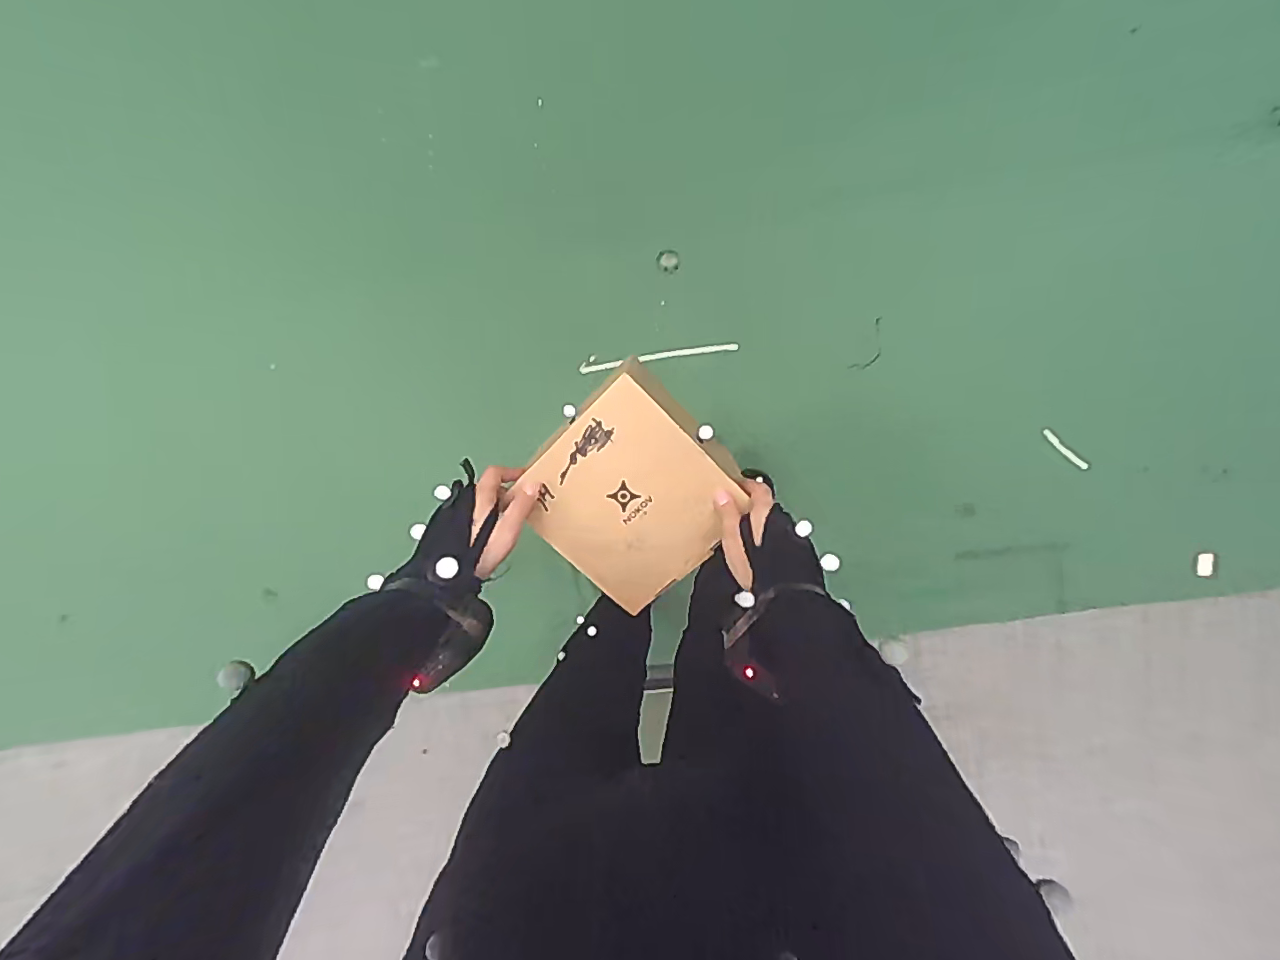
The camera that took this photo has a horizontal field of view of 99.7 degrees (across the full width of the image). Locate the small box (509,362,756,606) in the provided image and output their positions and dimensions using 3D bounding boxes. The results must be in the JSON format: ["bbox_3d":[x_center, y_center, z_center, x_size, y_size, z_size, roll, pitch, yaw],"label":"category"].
[{"bbox_3d":[-0.004,-0.008,0.581,0.168,0.176,0.179,-43,102,13],"label":"small box"}]
